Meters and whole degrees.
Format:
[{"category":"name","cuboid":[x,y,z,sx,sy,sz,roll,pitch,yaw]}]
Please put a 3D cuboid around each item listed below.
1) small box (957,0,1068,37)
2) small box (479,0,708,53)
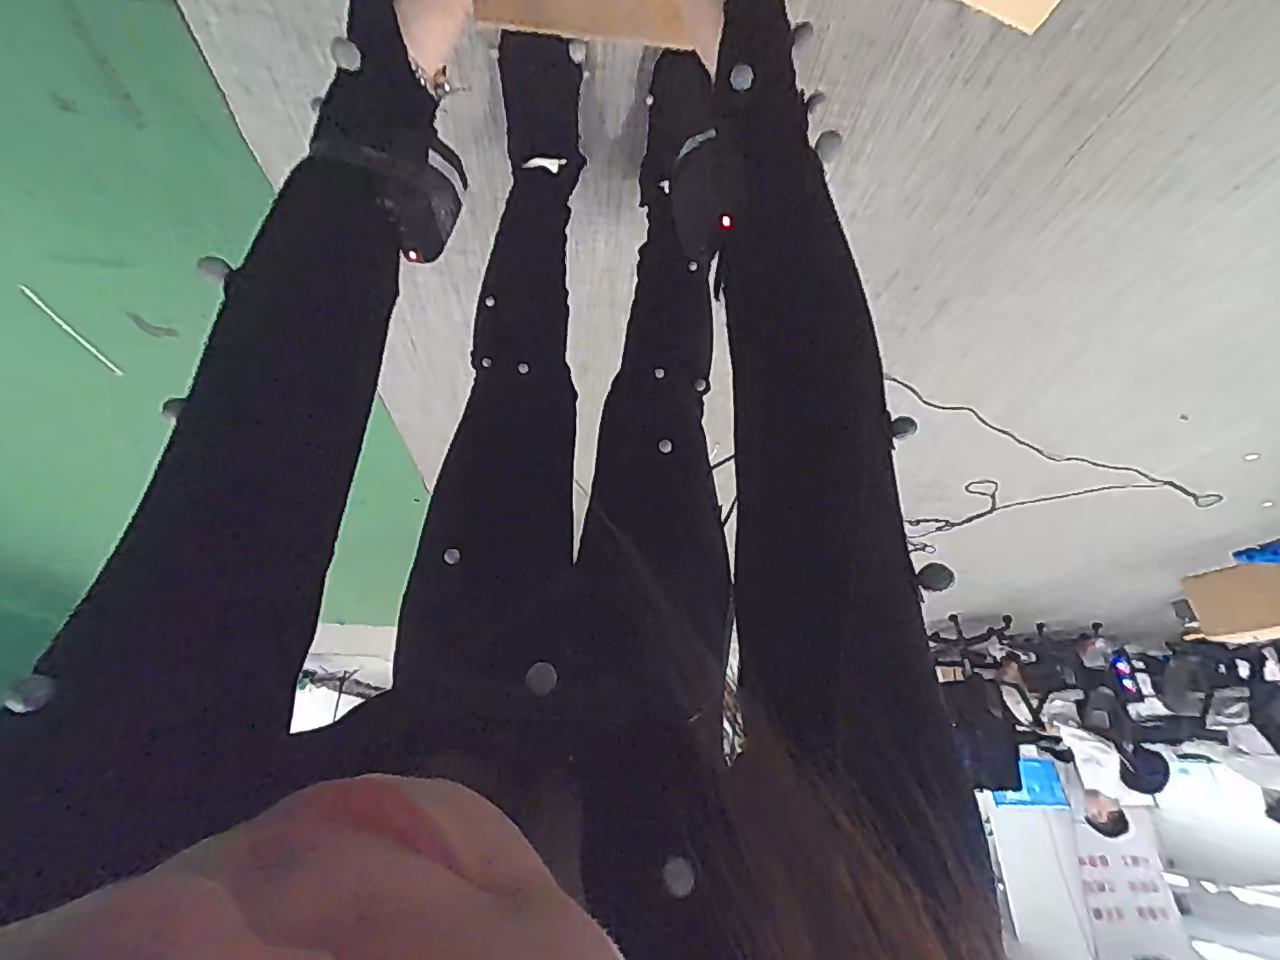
[{"category":"small box","cuboid":[0.386,-0.608,0.539,0.168,0.176,0.179,9,152,-14]},{"category":"small box","cuboid":[-0.029,-0.444,0.409,0.168,0.176,0.179,3,128,-5]}]
